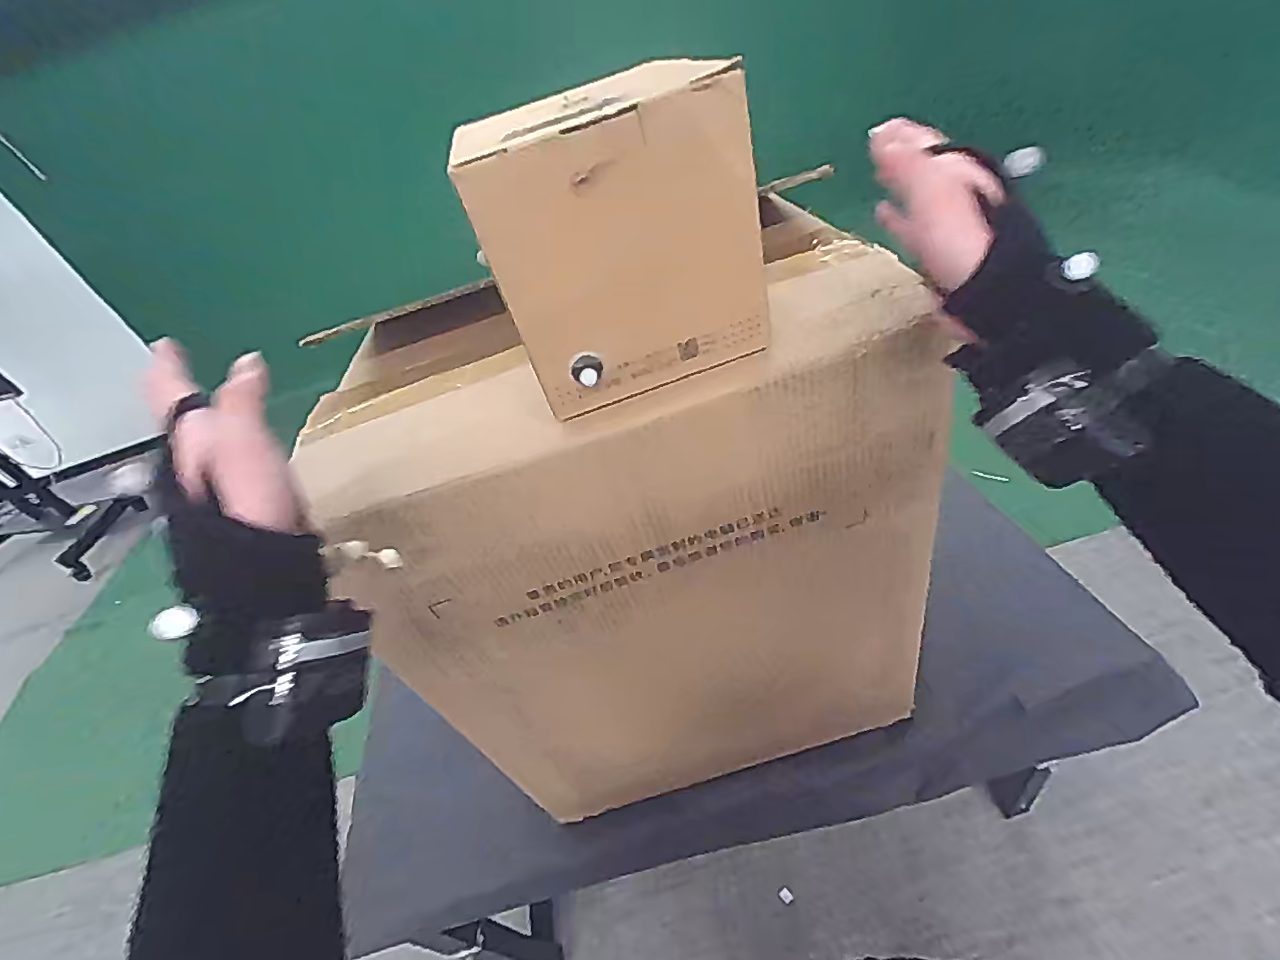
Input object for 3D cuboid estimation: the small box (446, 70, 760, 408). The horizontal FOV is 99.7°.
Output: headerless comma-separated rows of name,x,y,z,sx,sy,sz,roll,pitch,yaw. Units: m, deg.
small box,-0.023,-0.172,0.400,0.168,0.176,0.179,-20,39,0
